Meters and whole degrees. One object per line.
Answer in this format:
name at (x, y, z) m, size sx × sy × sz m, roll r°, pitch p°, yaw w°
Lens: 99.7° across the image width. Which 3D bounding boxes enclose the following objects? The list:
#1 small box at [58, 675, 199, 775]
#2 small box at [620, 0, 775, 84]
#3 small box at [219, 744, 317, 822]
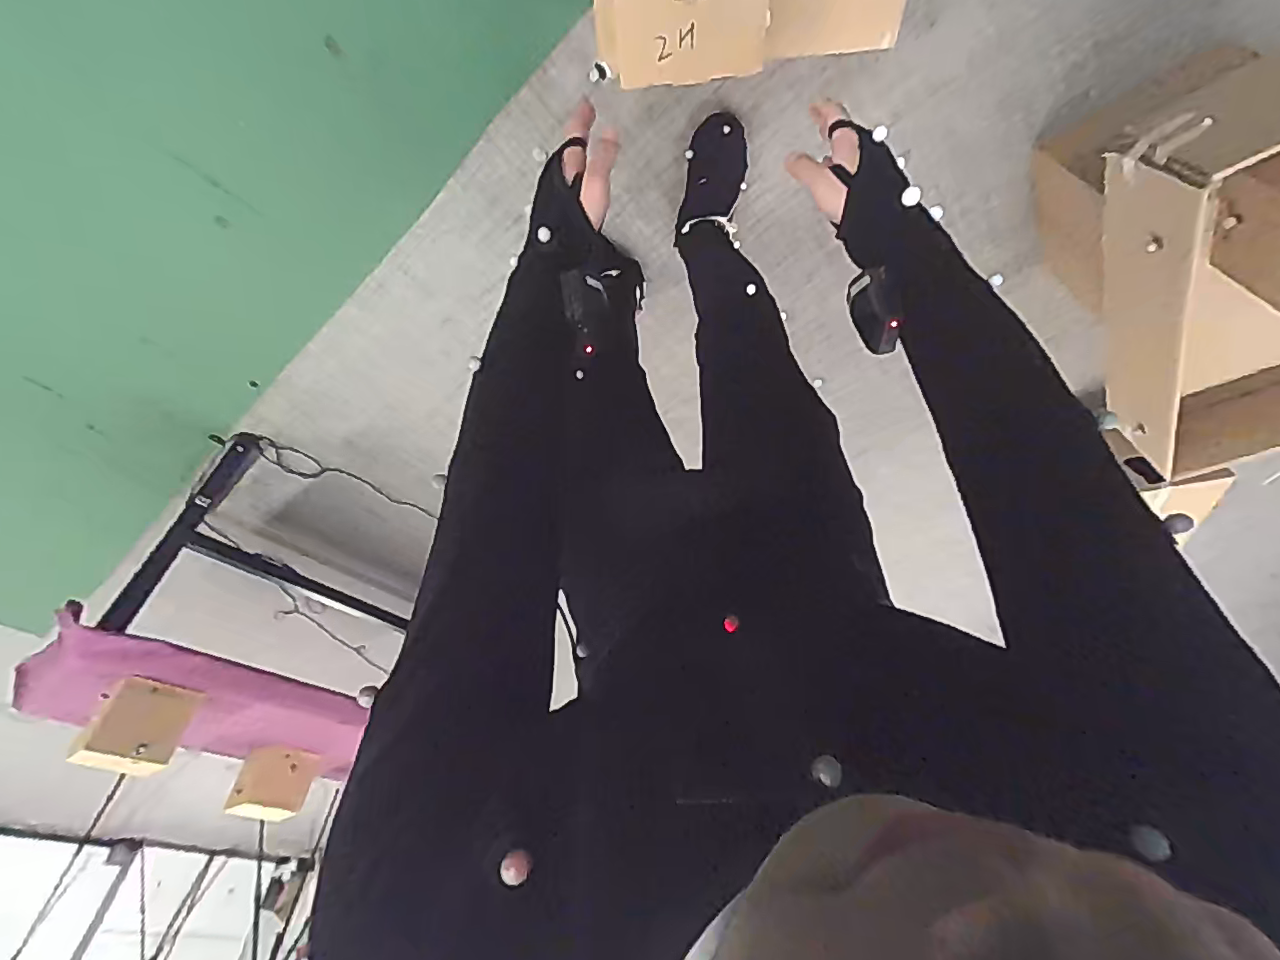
small box at (-1.201, 0.582, 1.281) m, size 0.179 × 0.176 × 0.168 m, roll -26°, pitch 133°, yaw 30°
small box at (0.058, -0.577, 0.606) m, size 0.168 × 0.176 × 0.179 m, roll -3°, pitch 139°, yaw 4°
small box at (-1.151, 0.946, 1.686) m, size 0.179 × 0.176 × 0.168 m, roll -30°, pitch 129°, yaw 28°
